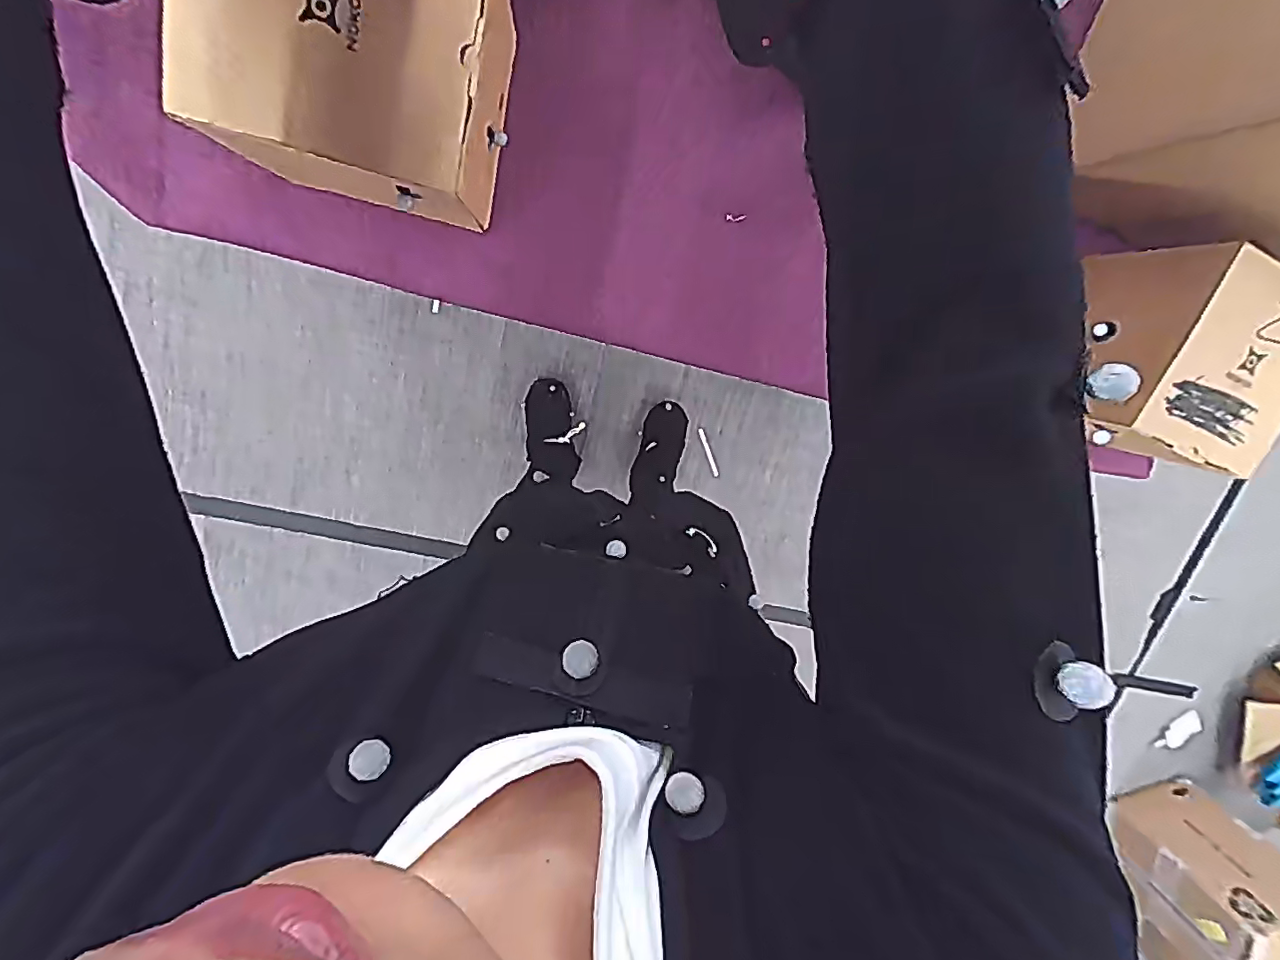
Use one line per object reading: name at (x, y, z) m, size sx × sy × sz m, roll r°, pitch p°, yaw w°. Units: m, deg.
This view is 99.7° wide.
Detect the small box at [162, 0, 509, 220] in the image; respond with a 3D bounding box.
small box at (-0.202, -0.311, 0.403) m, size 0.179 × 0.176 × 0.168 m, roll 10°, pitch 105°, yaw -13°
